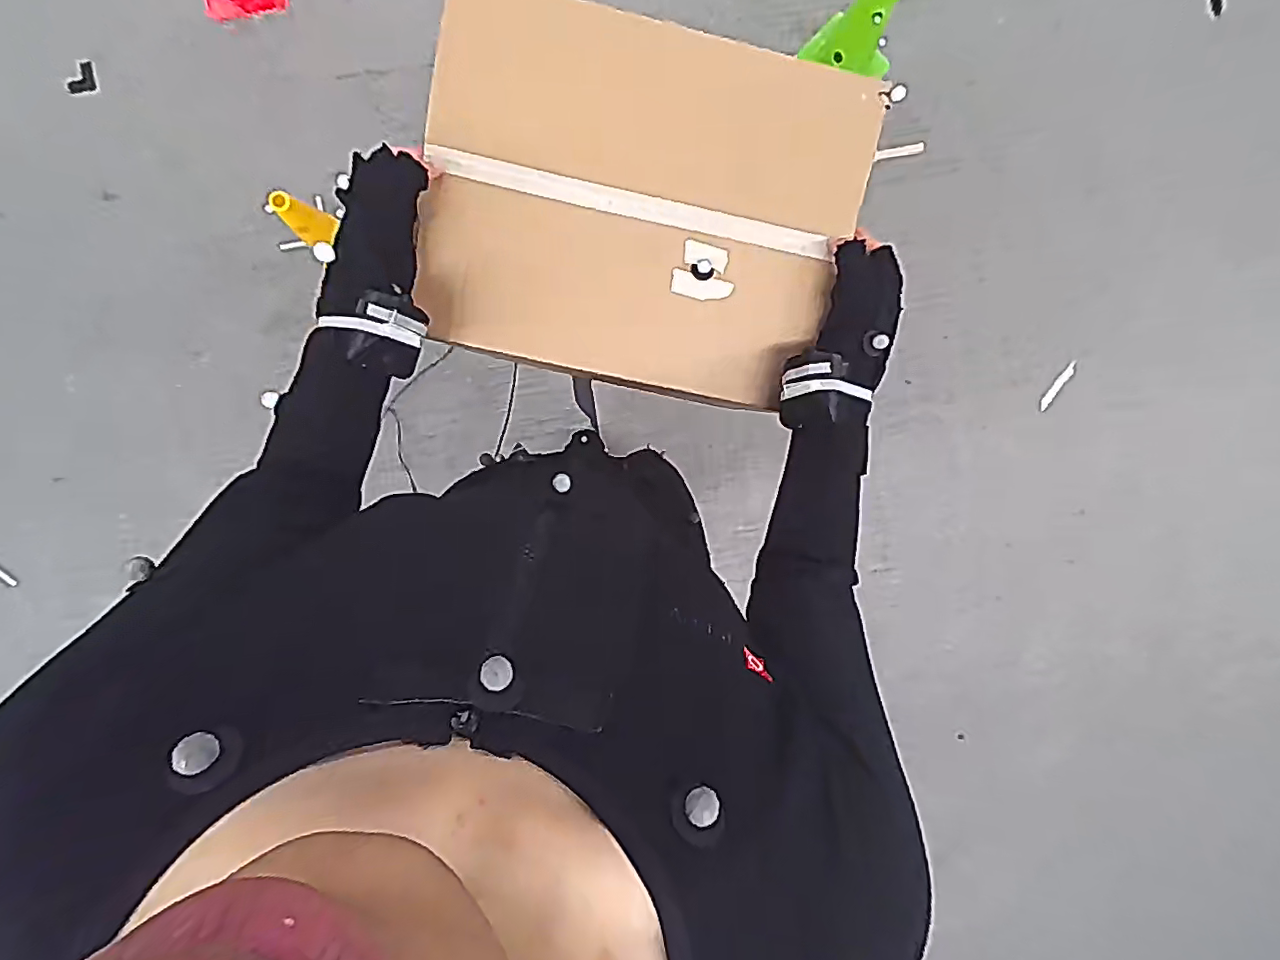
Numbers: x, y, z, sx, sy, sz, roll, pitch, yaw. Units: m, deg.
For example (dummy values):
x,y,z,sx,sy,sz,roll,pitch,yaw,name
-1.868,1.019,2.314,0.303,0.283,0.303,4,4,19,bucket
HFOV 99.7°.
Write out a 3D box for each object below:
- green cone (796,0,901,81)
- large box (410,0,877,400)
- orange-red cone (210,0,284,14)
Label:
x,y,z,sx,sy,sz,roll,pitch,yaw,name
0.545,-1.089,1.240,0.200,0.368,0.202,44,90,-5,green cone
-0.009,-0.283,0.654,0.408,0.320,0.320,11,98,-5,large box
-0.982,-1.256,1.171,0.198,0.360,0.199,-11,96,0,orange-red cone
